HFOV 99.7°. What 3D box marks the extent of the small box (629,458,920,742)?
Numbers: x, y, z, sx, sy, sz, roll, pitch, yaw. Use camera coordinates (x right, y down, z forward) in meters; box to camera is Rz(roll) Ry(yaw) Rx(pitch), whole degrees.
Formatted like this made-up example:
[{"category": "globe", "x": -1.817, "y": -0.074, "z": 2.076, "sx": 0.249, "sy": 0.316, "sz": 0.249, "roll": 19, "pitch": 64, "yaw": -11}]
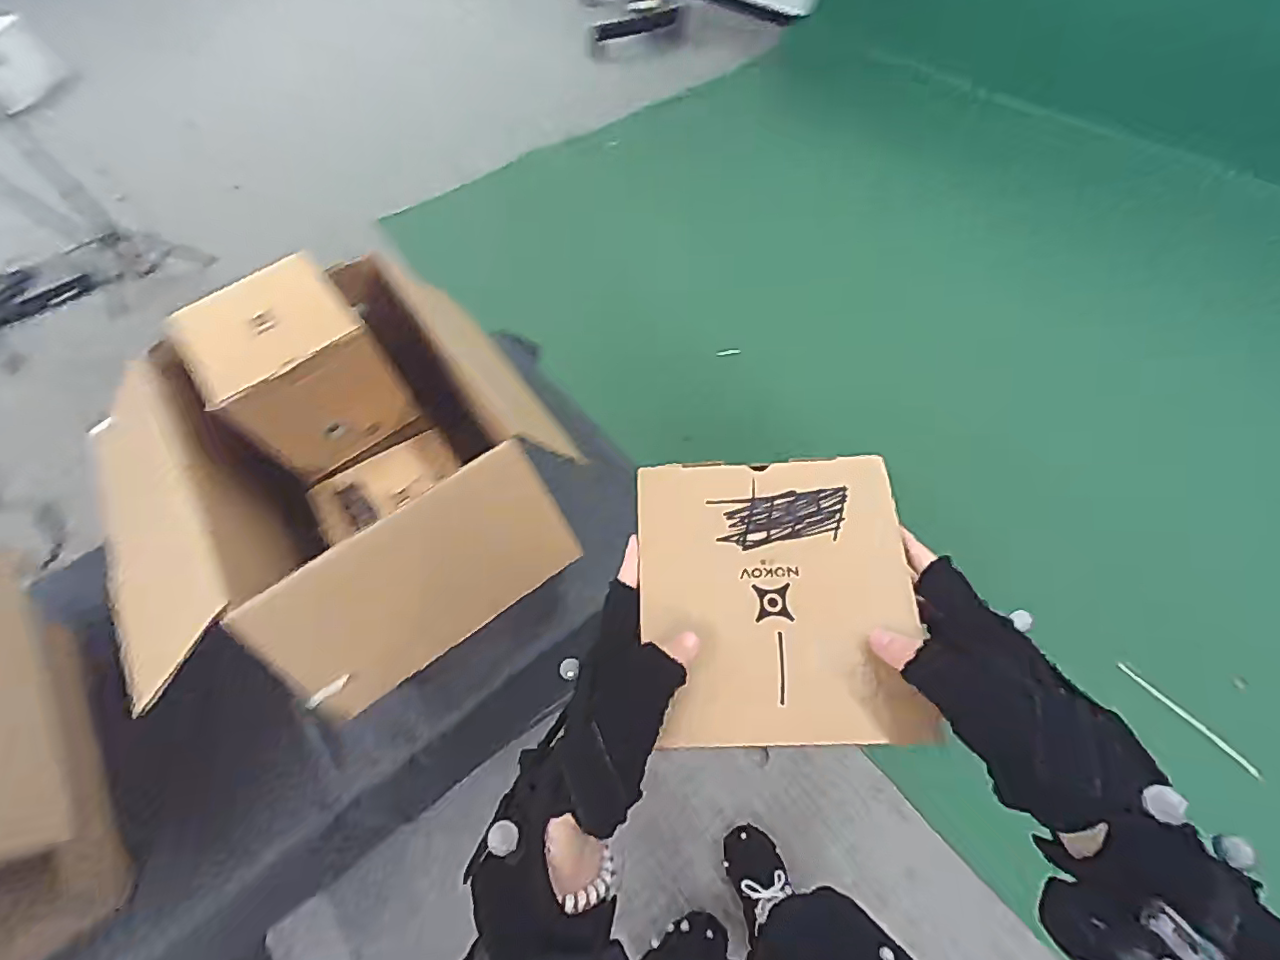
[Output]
[{"category": "small box", "x": 0.079, "y": 0.100, "z": 0.411, "sx": 0.168, "sy": 0.176, "sz": 0.179, "roll": -3, "pitch": 66, "yaw": 3}]
